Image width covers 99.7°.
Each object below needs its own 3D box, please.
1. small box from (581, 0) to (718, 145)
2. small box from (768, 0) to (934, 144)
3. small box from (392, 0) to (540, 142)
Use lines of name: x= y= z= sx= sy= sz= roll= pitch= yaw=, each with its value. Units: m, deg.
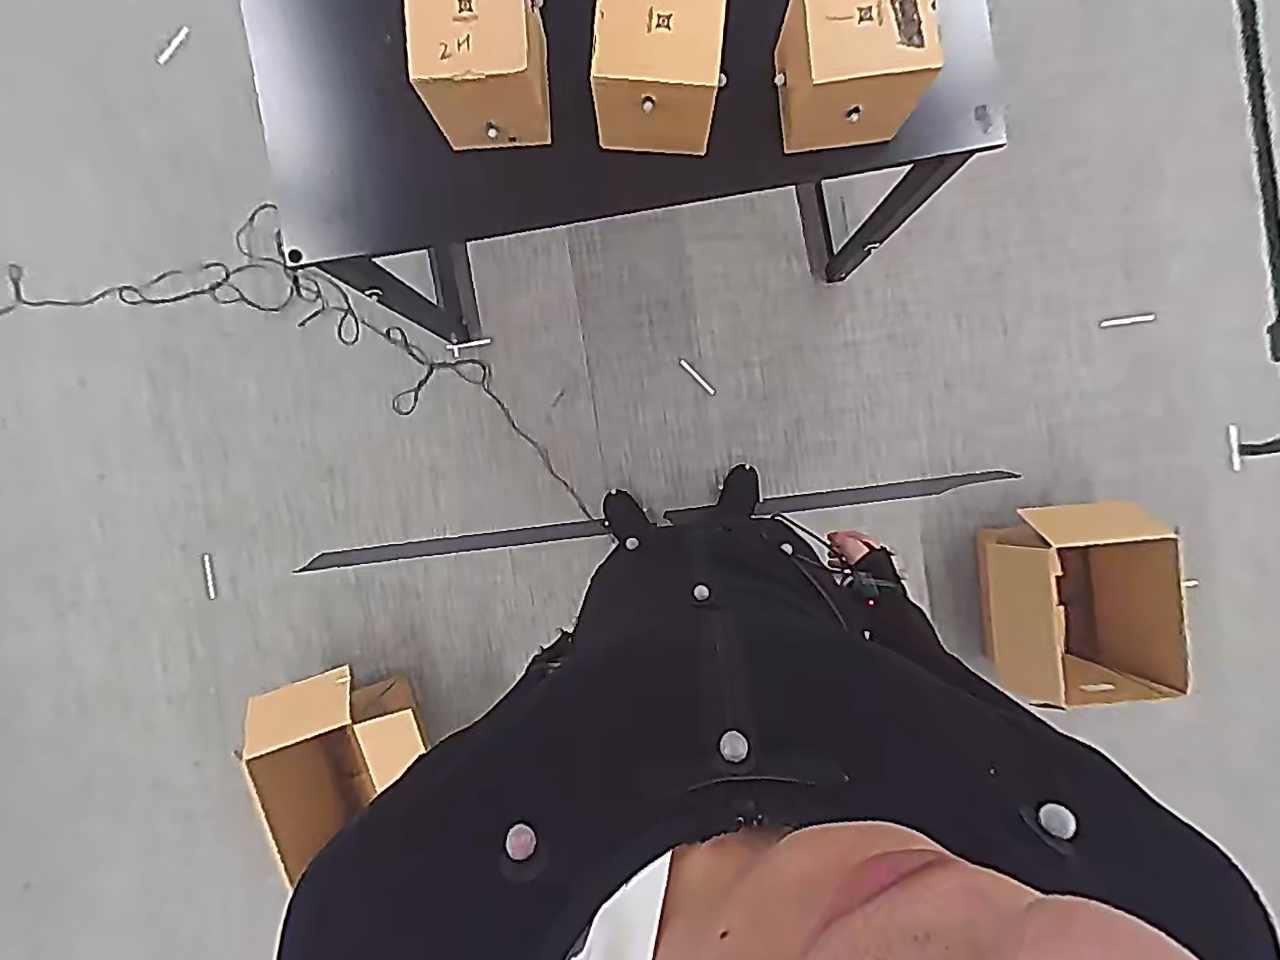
small box: x=0.016 y=-0.625 z=0.798 sx=0.179 sy=0.176 sz=0.168 roll=5 pitch=92 yaw=2
small box: x=0.296 y=-0.628 z=0.790 sx=0.179 sy=0.176 sz=0.168 roll=-6 pitch=92 yaw=3
small box: x=-0.247 y=-0.639 z=0.798 sx=0.168 sy=0.176 sz=0.179 roll=-3 pitch=92 yaw=2
